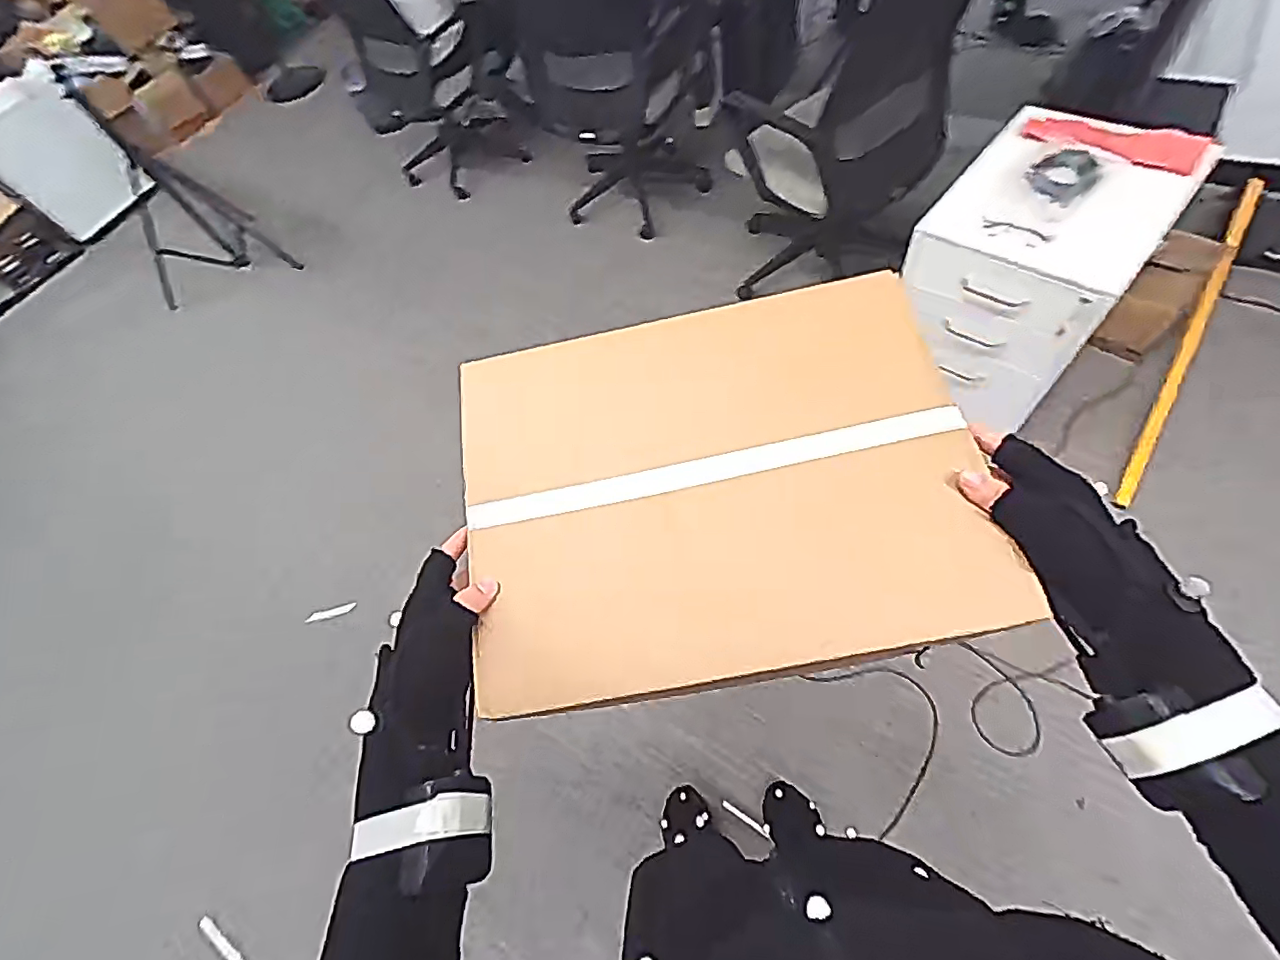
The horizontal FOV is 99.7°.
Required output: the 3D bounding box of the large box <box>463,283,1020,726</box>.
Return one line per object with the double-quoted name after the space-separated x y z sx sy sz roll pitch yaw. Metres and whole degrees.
0.072 0.052 0.584 0.408 0.320 0.320 -12 67 3 "large box"
